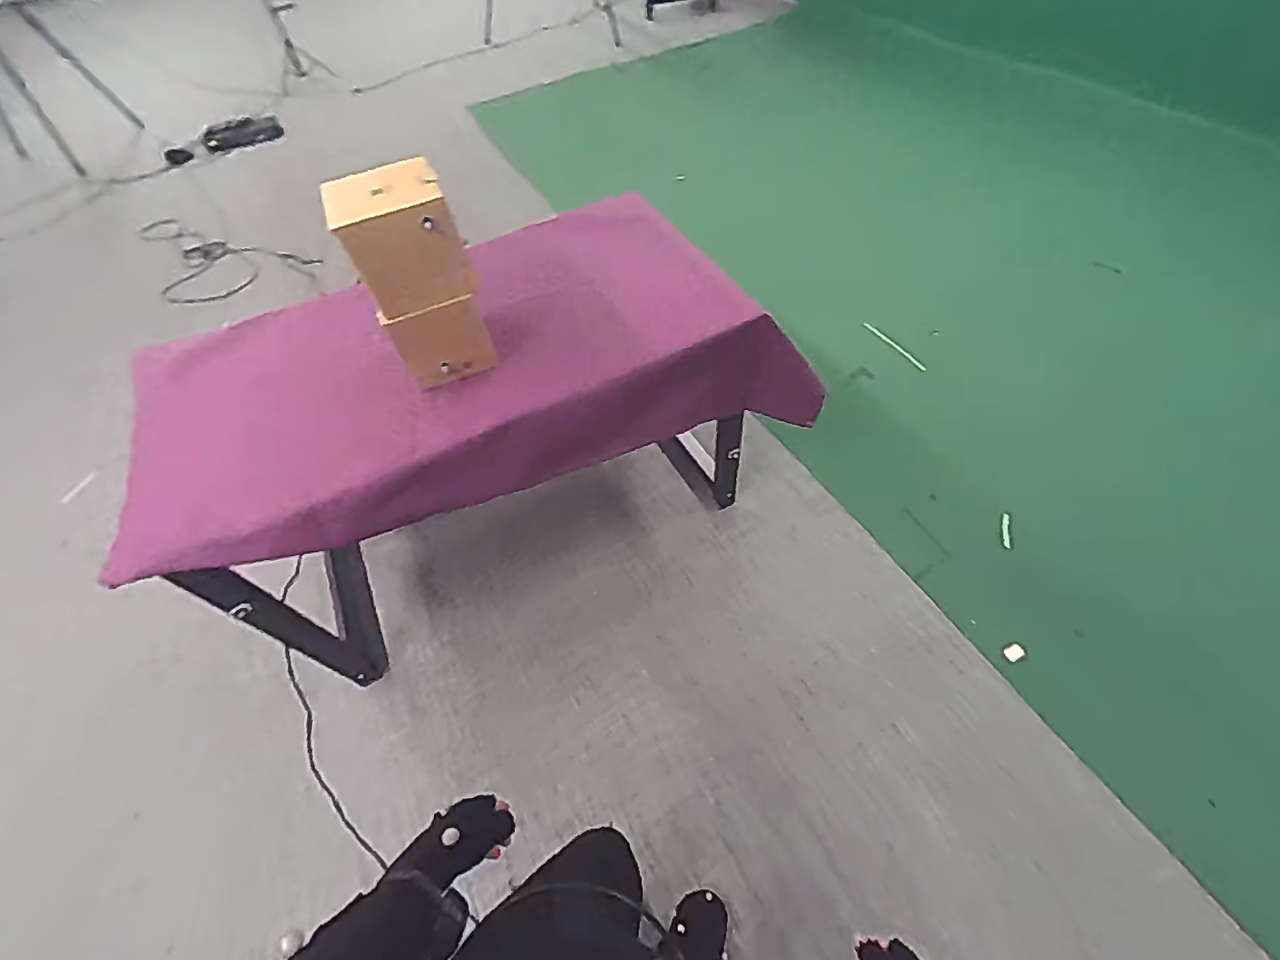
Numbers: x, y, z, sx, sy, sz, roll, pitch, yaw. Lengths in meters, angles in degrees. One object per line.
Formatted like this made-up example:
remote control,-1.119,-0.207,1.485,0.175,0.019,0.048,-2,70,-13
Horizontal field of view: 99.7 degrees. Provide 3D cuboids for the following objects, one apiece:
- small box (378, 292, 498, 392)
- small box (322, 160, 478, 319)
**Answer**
small box,-0.391,-0.302,1.041,0.168,0.176,0.179,-22,56,-9
small box,-0.399,-0.400,0.912,0.179,0.176,0.168,-23,55,-11
